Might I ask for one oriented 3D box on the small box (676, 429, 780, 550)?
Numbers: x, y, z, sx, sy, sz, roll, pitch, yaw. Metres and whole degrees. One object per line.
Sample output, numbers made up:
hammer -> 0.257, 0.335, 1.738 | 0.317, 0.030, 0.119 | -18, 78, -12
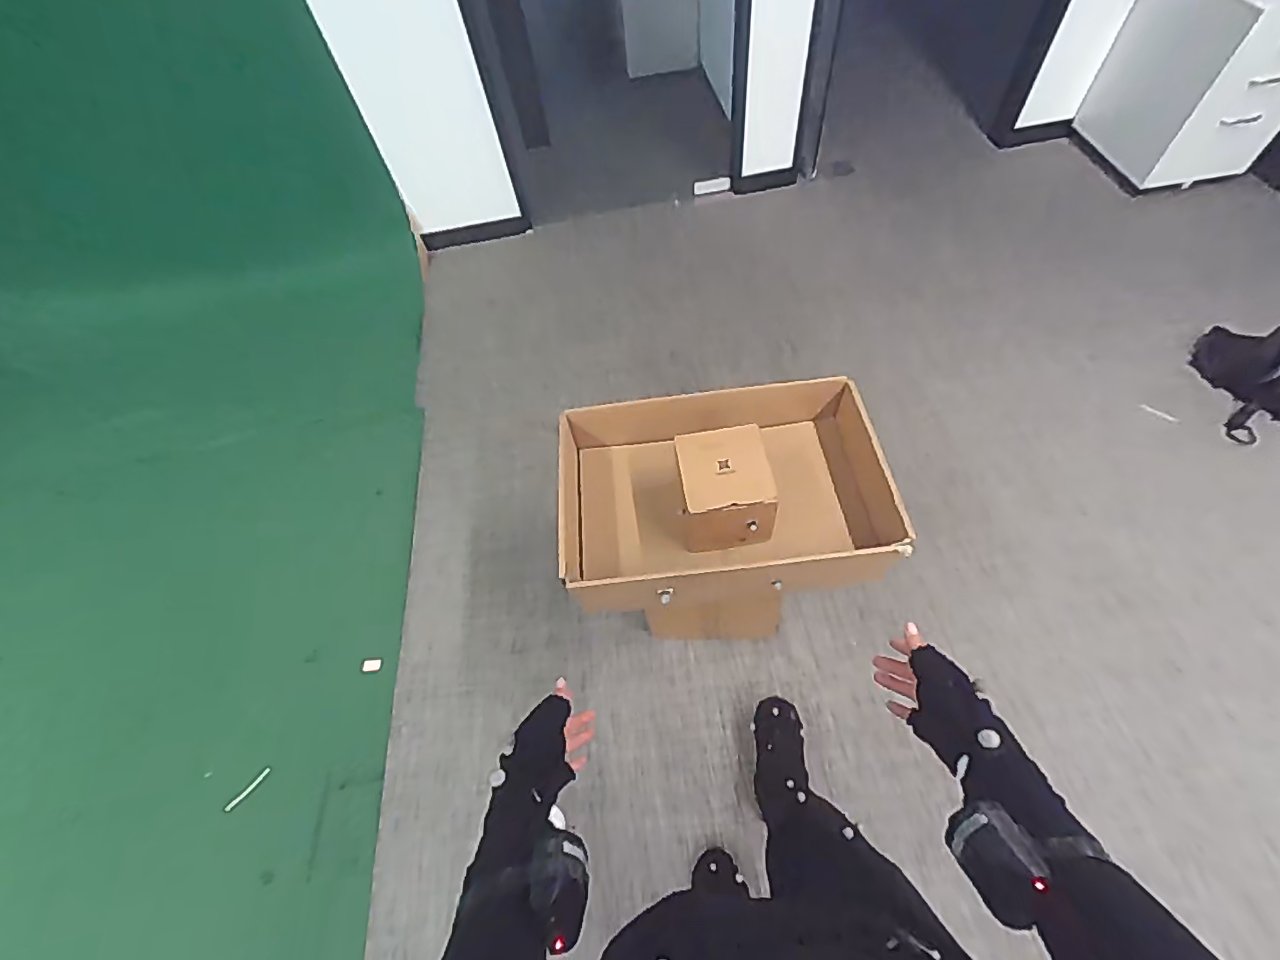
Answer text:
small box -> 0.168, 0.027, 1.070 | 0.168, 0.176, 0.179 | -8, 55, 0
